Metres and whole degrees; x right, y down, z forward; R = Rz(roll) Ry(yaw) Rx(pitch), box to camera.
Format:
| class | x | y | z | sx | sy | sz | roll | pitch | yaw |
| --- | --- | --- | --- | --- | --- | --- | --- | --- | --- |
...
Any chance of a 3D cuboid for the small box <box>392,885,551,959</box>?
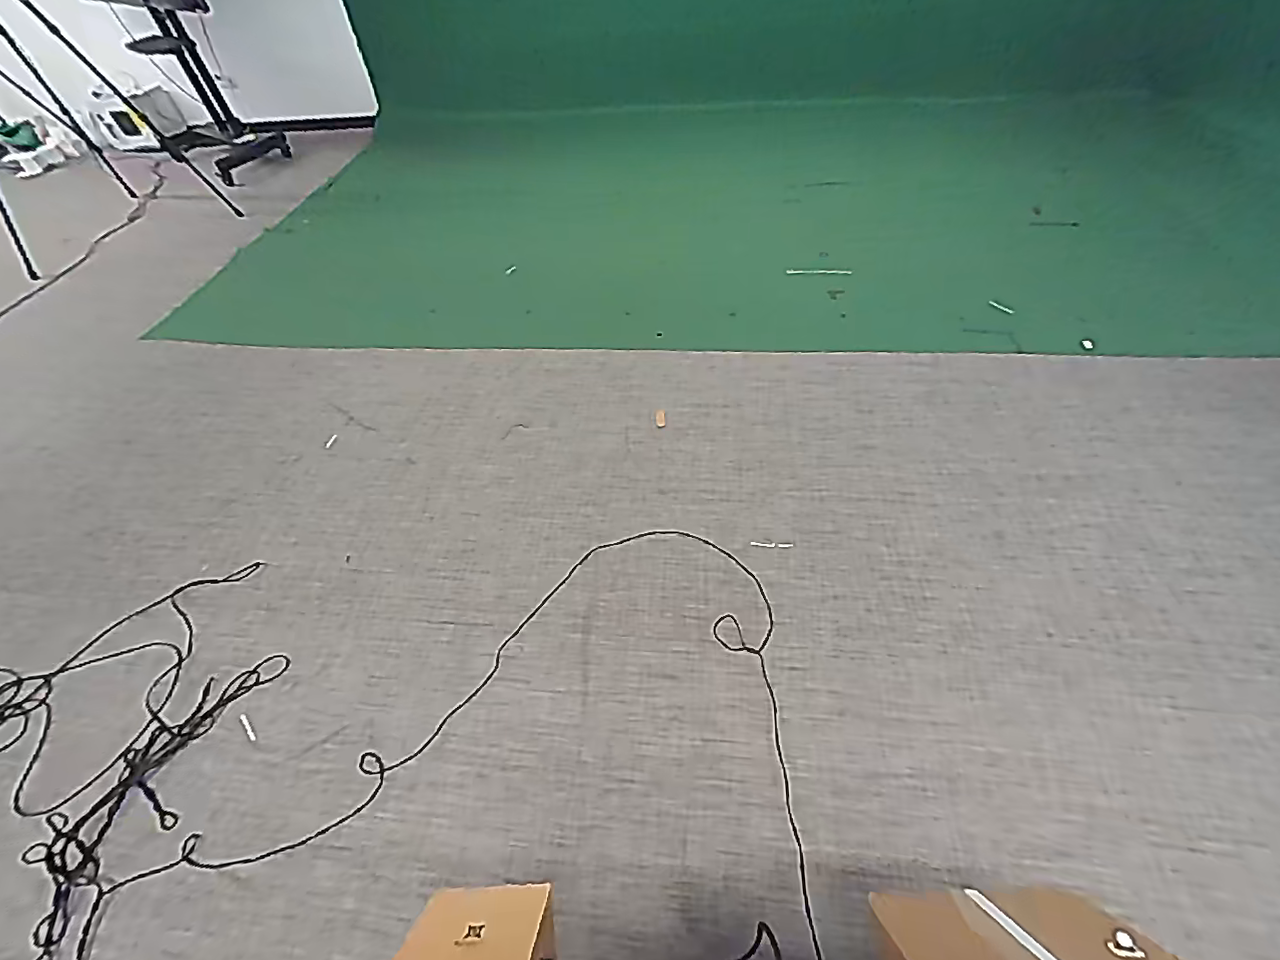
| class | x | y | z | sx | sy | sz | roll | pitch | yaw |
| --- | --- | --- | --- | --- | --- | --- | --- | --- | --- |
| small box | -0.204 | 0.643 | 0.662 | 0.168 | 0.179 | 0.176 | -4 | 86 | 1 |
